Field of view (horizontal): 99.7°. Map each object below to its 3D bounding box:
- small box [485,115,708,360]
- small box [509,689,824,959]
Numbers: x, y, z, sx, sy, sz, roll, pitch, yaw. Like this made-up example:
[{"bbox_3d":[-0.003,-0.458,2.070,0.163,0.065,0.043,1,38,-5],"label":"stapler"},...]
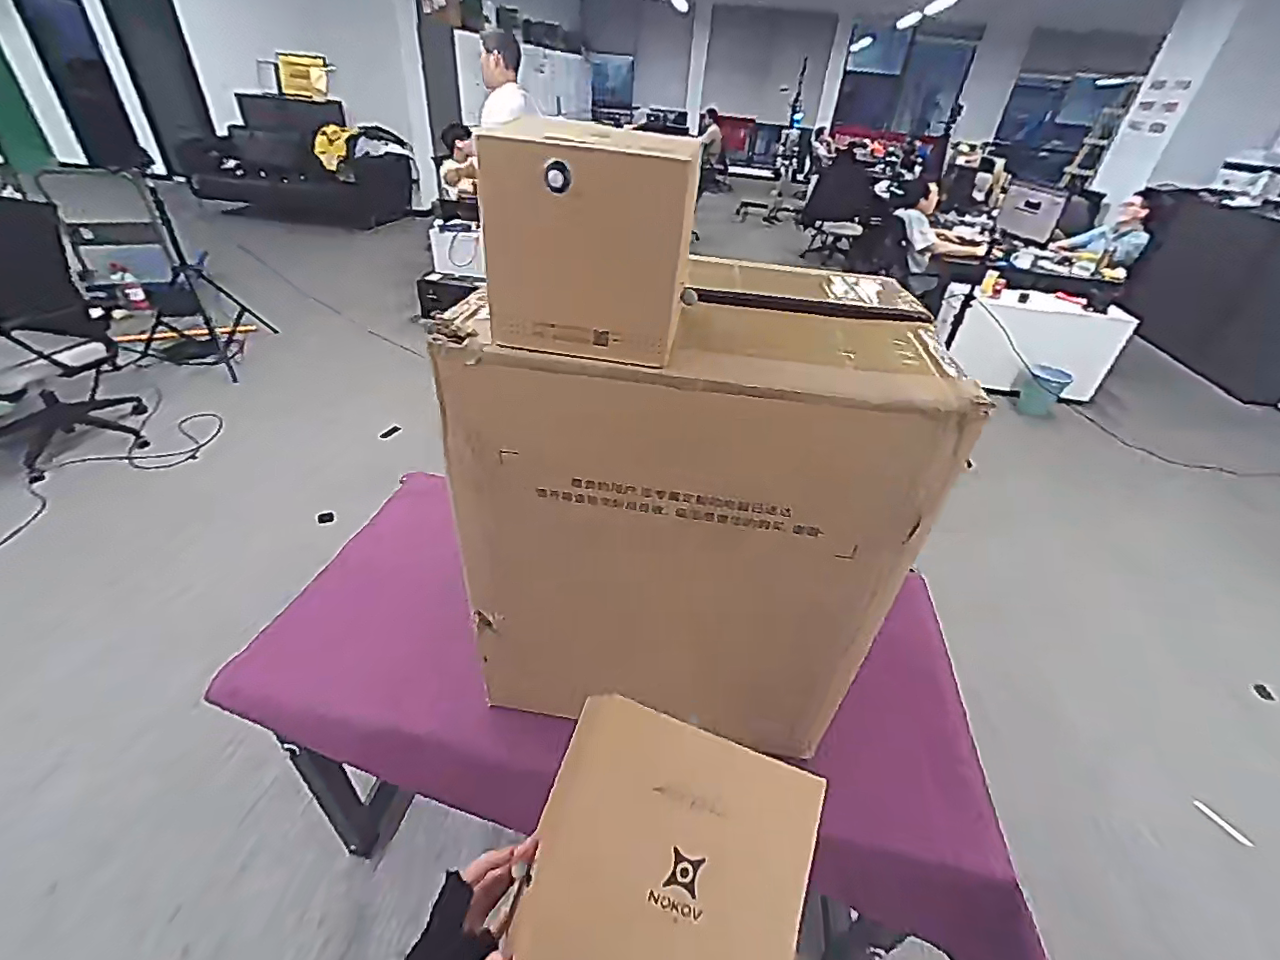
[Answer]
[{"bbox_3d":[-0.034,-0.232,0.509,0.168,0.176,0.179,9,36,3],"label":"small box"},{"bbox_3d":[0.011,0.279,0.413,0.168,0.176,0.179,23,64,-4],"label":"small box"}]
